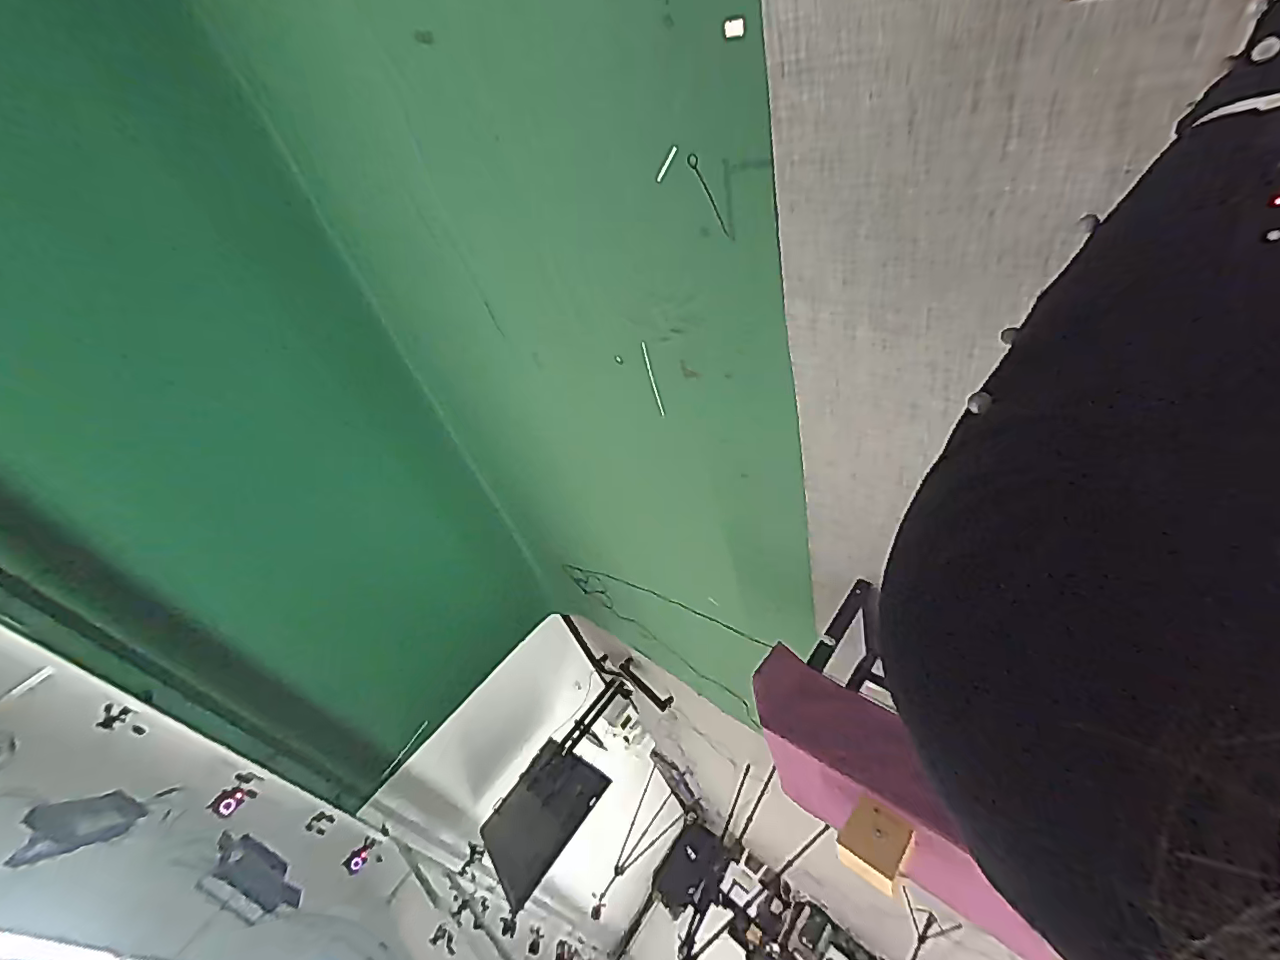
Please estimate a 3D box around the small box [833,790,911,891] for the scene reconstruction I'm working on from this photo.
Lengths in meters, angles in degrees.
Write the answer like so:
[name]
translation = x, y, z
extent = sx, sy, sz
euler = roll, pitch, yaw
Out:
[small box]
translation = 0.698, 1.076, 1.627
extent = 0.168, 0.176, 0.179
euler = 21, 144, 39
